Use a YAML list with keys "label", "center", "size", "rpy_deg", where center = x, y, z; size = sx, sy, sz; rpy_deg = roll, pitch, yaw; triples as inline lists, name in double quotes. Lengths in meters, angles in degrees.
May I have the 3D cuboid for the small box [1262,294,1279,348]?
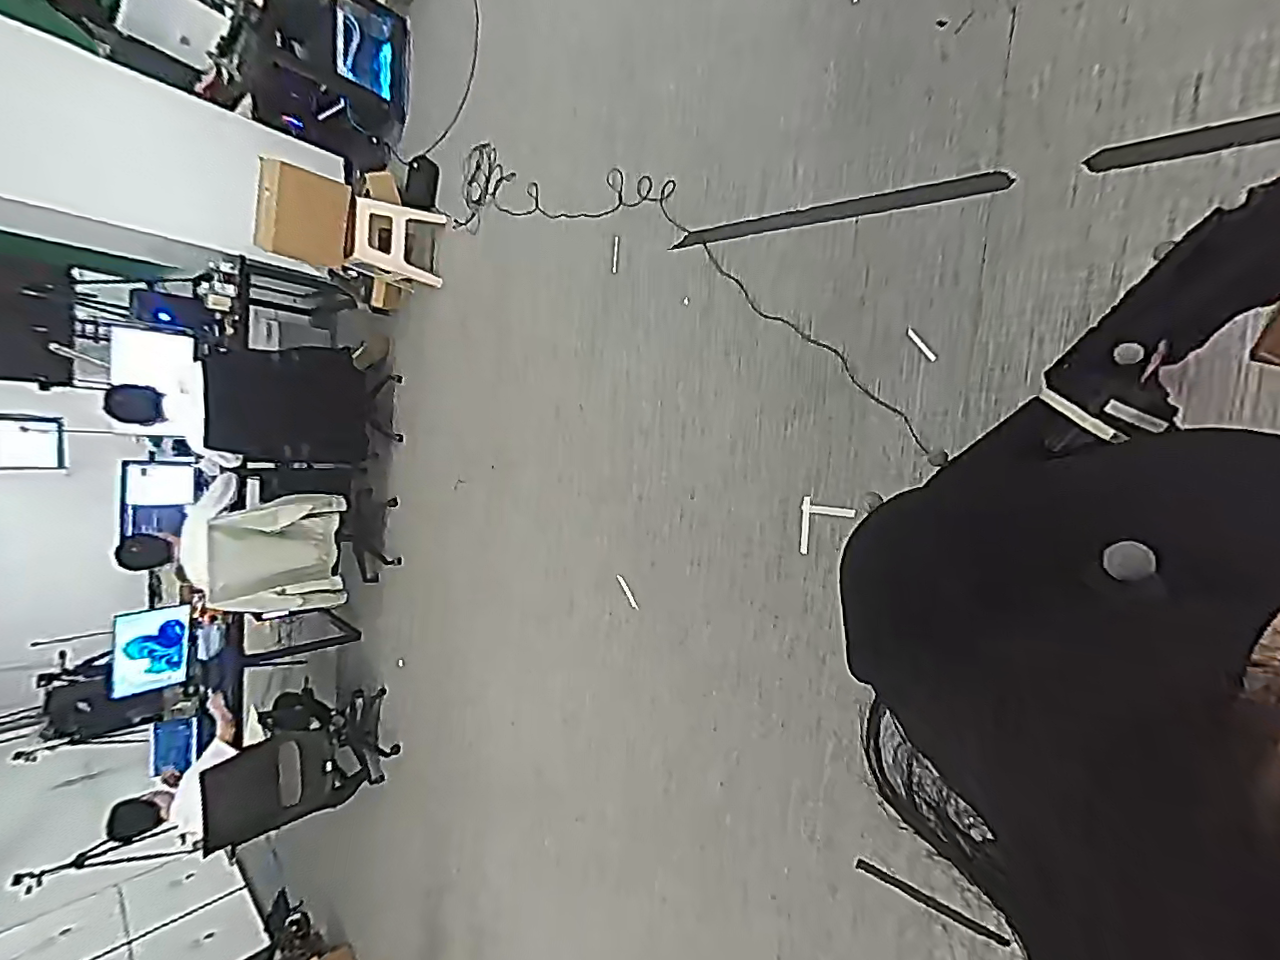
- label: "small box"
  center: [0.560, -0.172, 0.335]
  size: [0.179, 0.168, 0.176]
  rpy_deg: [29, 154, 39]
